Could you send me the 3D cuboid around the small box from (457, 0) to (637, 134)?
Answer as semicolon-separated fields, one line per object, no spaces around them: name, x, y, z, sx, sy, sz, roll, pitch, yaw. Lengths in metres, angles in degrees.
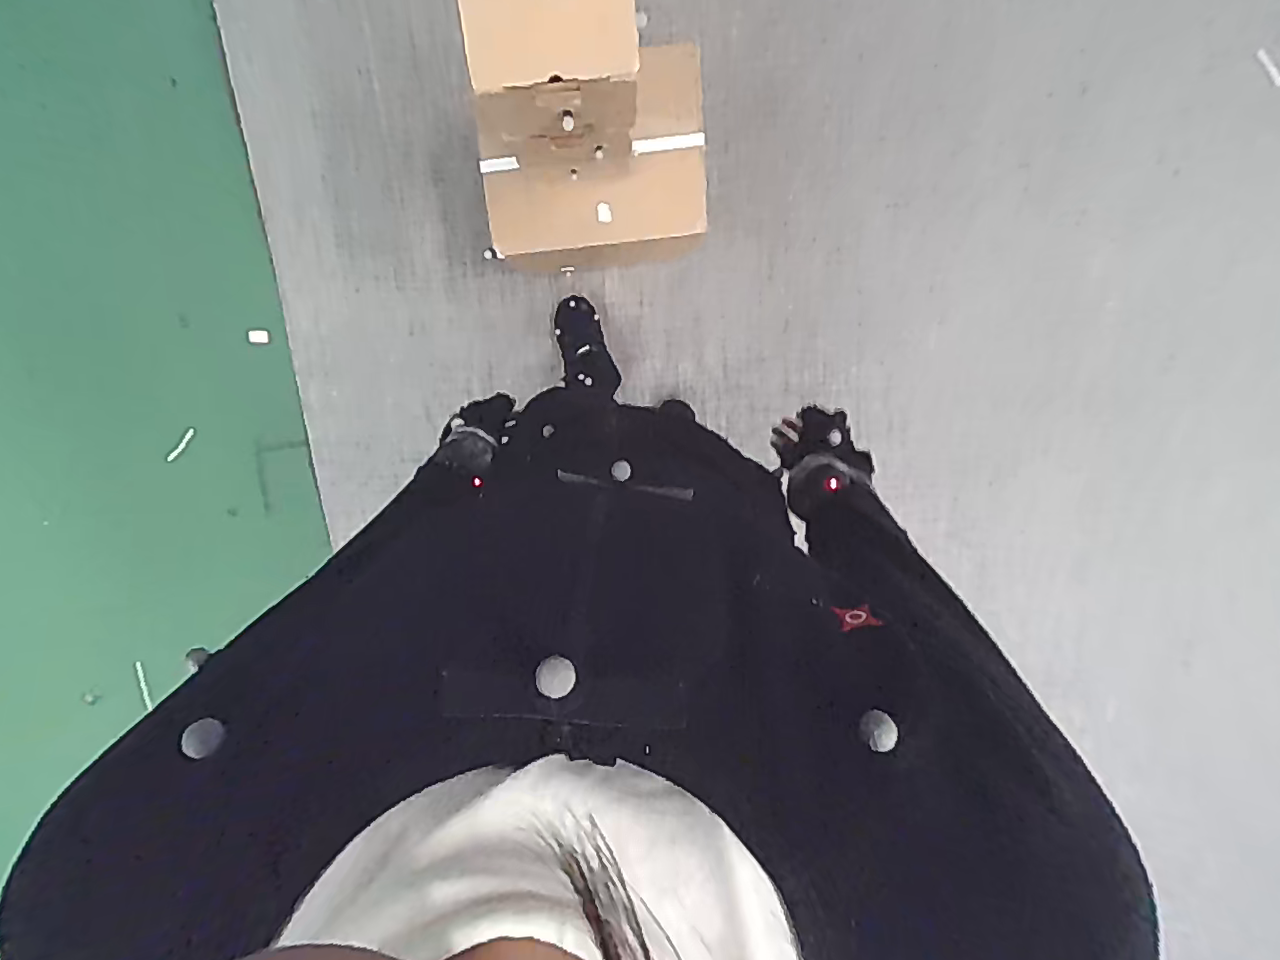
small box;-0.091;-0.490;0.580;0.168;0.176;0.179;-4;110;2

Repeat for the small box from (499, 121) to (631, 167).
small box;-0.101;-0.542;0.735;0.168;0.176;0.179;-5;108;1
